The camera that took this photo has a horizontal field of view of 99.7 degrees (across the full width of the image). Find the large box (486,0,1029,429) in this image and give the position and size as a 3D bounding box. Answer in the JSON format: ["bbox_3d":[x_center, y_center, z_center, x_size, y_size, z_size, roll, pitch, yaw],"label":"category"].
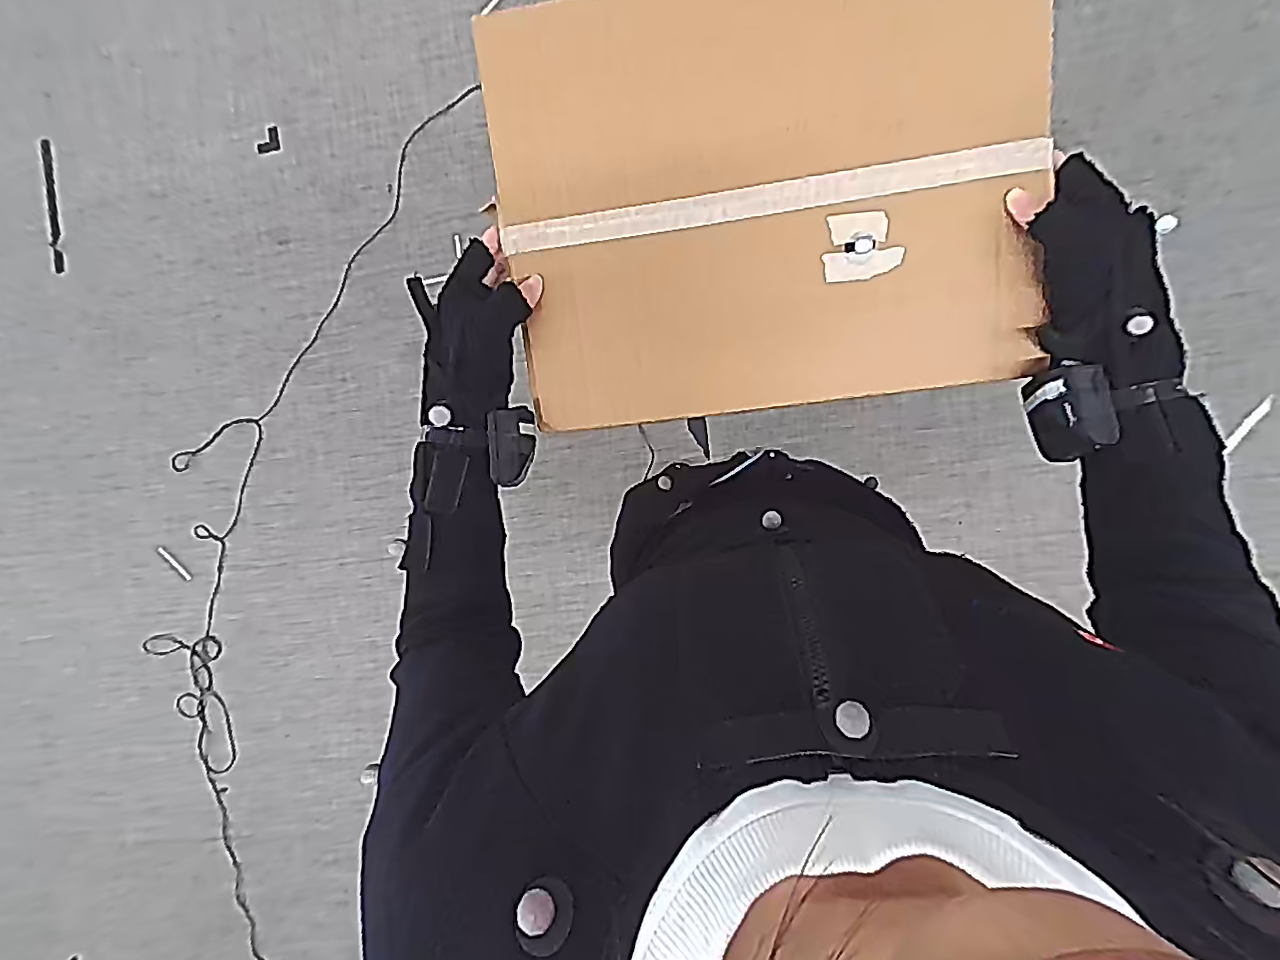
[{"bbox_3d":[0.104,-0.245,0.571,0.408,0.320,0.320,-6,101,6],"label":"large box"}]
